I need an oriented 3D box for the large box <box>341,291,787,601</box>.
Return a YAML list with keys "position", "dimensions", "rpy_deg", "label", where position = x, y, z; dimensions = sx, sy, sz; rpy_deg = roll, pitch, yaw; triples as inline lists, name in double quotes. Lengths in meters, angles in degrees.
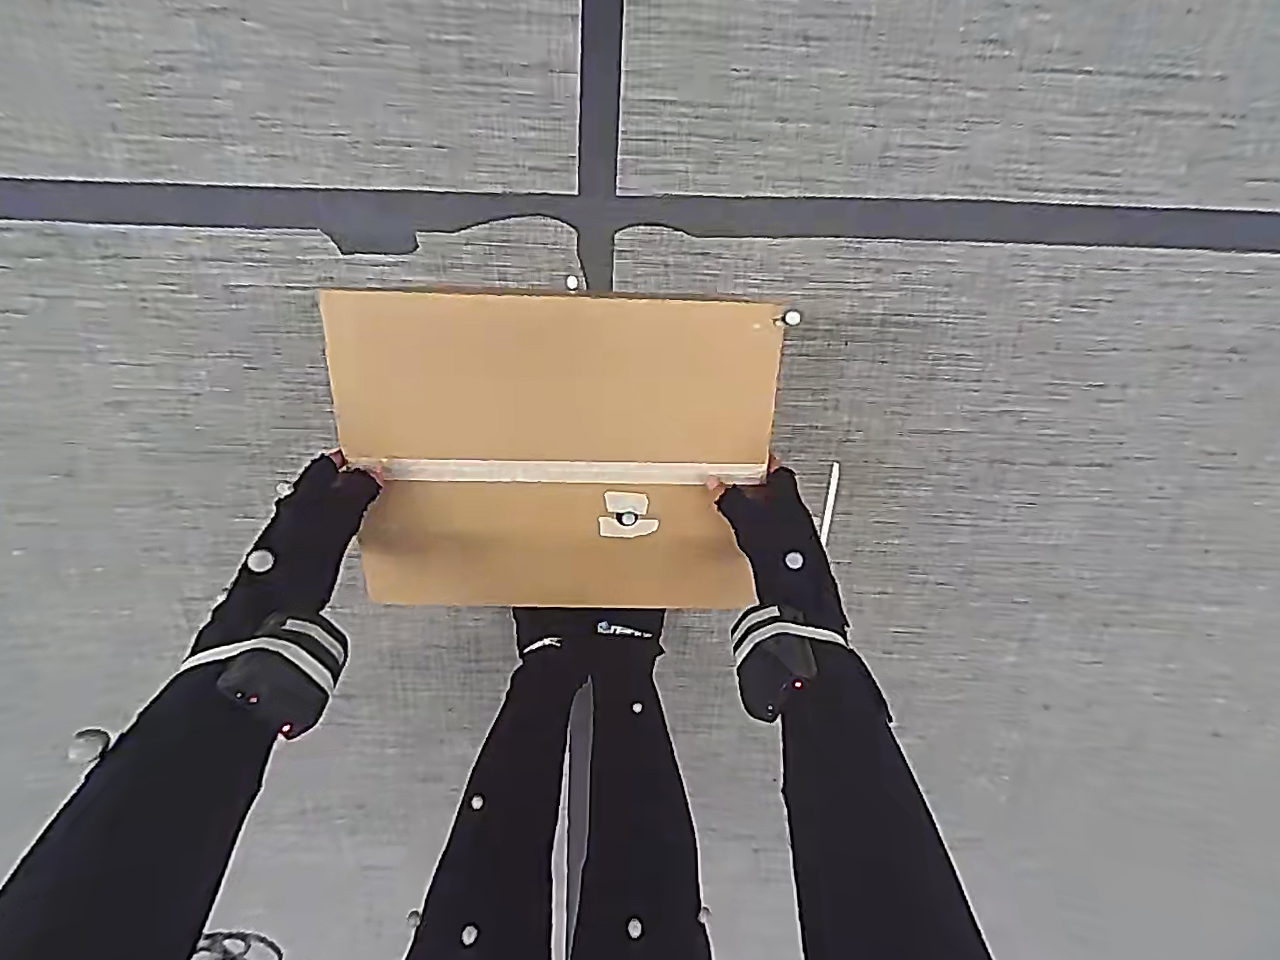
- position: [-0.074, -0.065, 0.668]
  dimensions: [0.408, 0.320, 0.320]
  rpy_deg: [1, 110, -2]
  label: "large box"
